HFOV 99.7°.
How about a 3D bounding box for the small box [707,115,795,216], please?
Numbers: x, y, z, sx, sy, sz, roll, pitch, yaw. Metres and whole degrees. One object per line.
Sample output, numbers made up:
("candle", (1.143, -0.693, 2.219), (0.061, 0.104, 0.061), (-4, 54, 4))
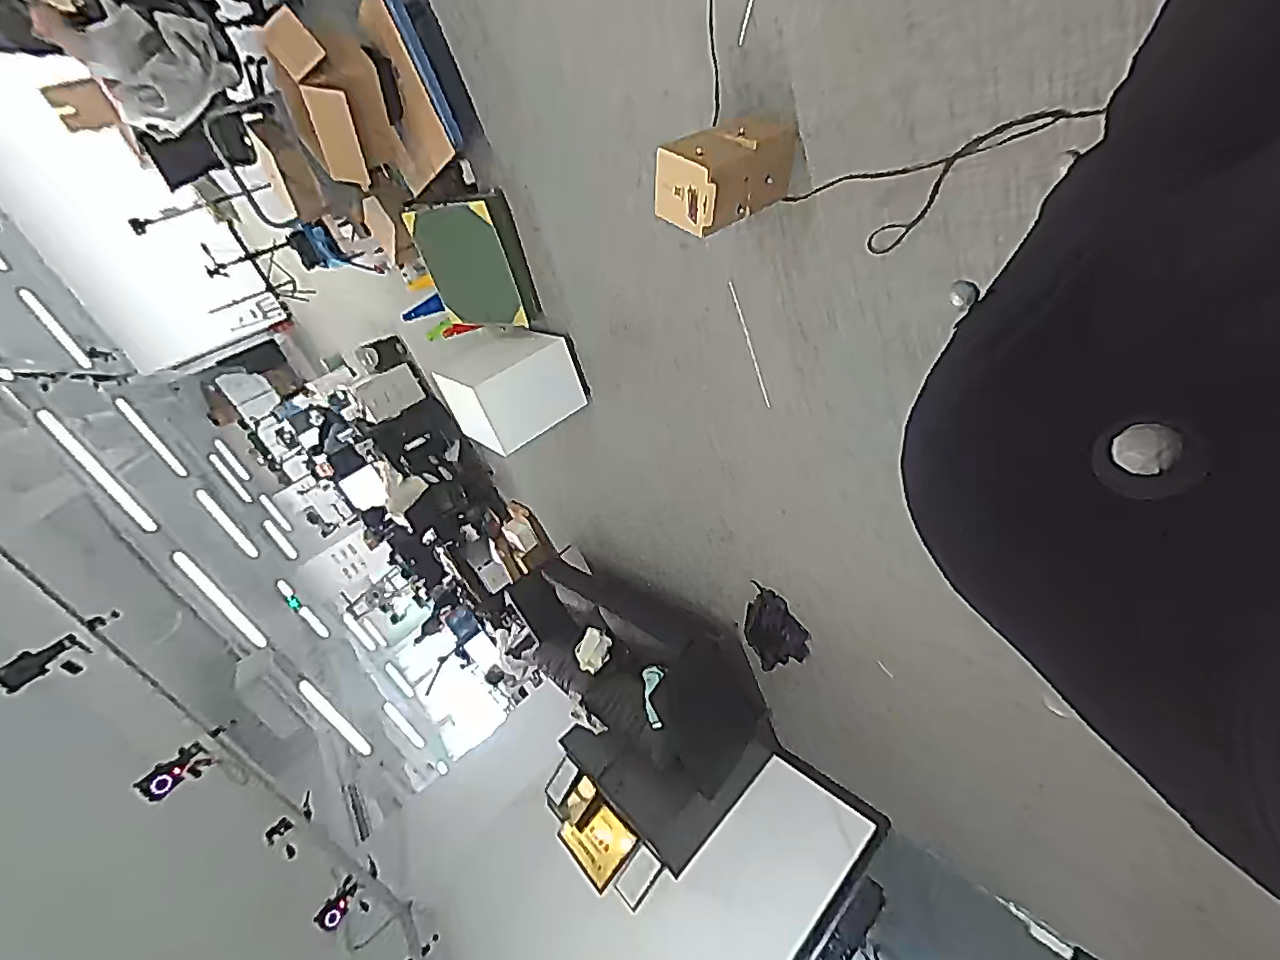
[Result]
("small box", (0.288, -0.833, 1.429), (0.168, 0.176, 0.179), (37, 149, 30))

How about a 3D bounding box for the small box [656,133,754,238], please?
("small box", (0.162, -0.749, 1.364), (0.179, 0.176, 0.168), (41, 150, 26))
